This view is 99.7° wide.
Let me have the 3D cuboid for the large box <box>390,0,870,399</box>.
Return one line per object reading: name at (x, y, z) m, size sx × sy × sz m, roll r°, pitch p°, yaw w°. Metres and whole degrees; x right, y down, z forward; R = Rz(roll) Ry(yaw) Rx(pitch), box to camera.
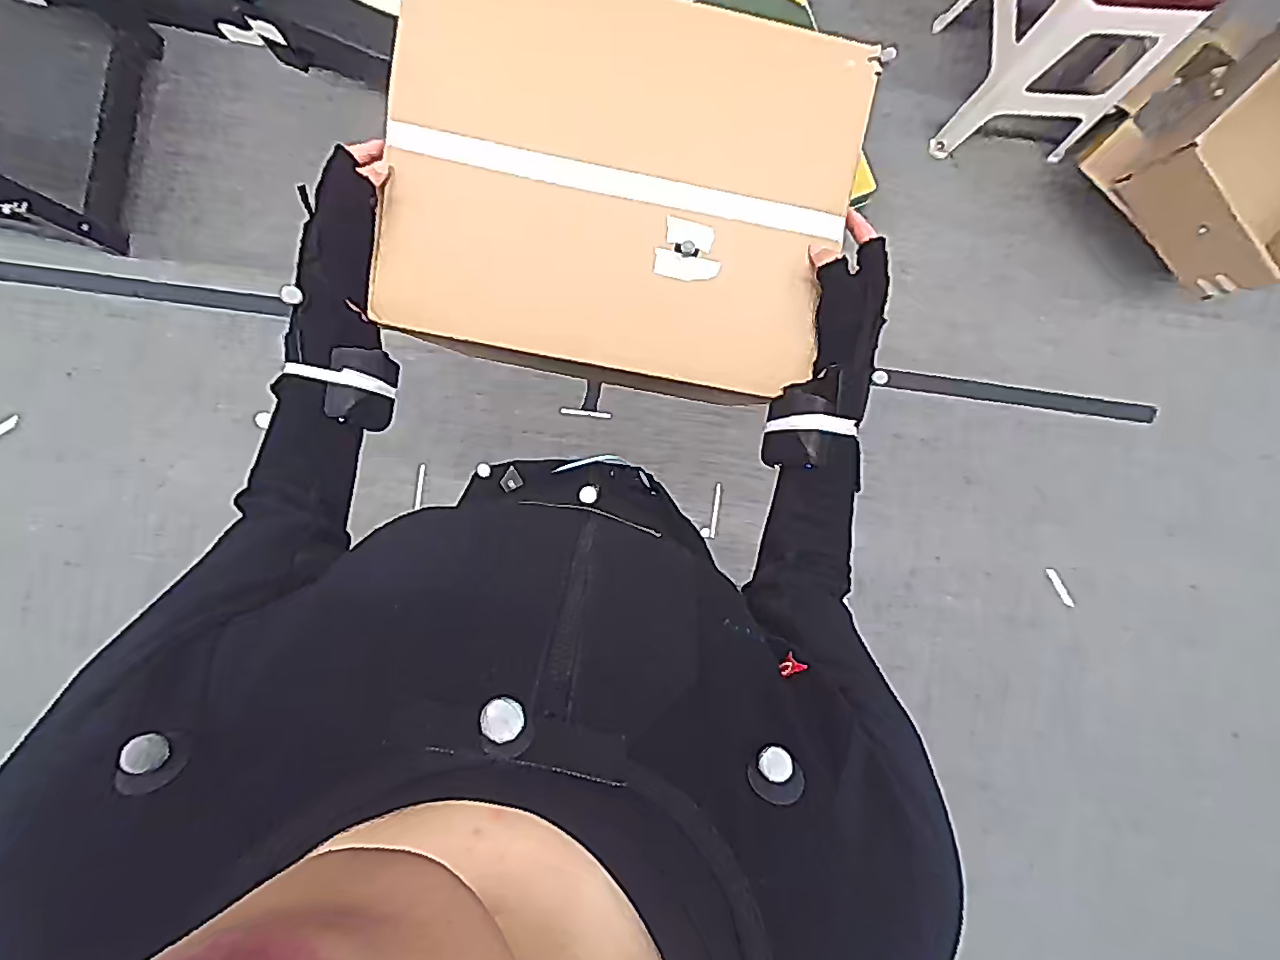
large box at (-0.021, -0.283, 0.638) m, size 0.408 × 0.320 × 0.320 m, roll 10°, pitch 98°, yaw -5°
